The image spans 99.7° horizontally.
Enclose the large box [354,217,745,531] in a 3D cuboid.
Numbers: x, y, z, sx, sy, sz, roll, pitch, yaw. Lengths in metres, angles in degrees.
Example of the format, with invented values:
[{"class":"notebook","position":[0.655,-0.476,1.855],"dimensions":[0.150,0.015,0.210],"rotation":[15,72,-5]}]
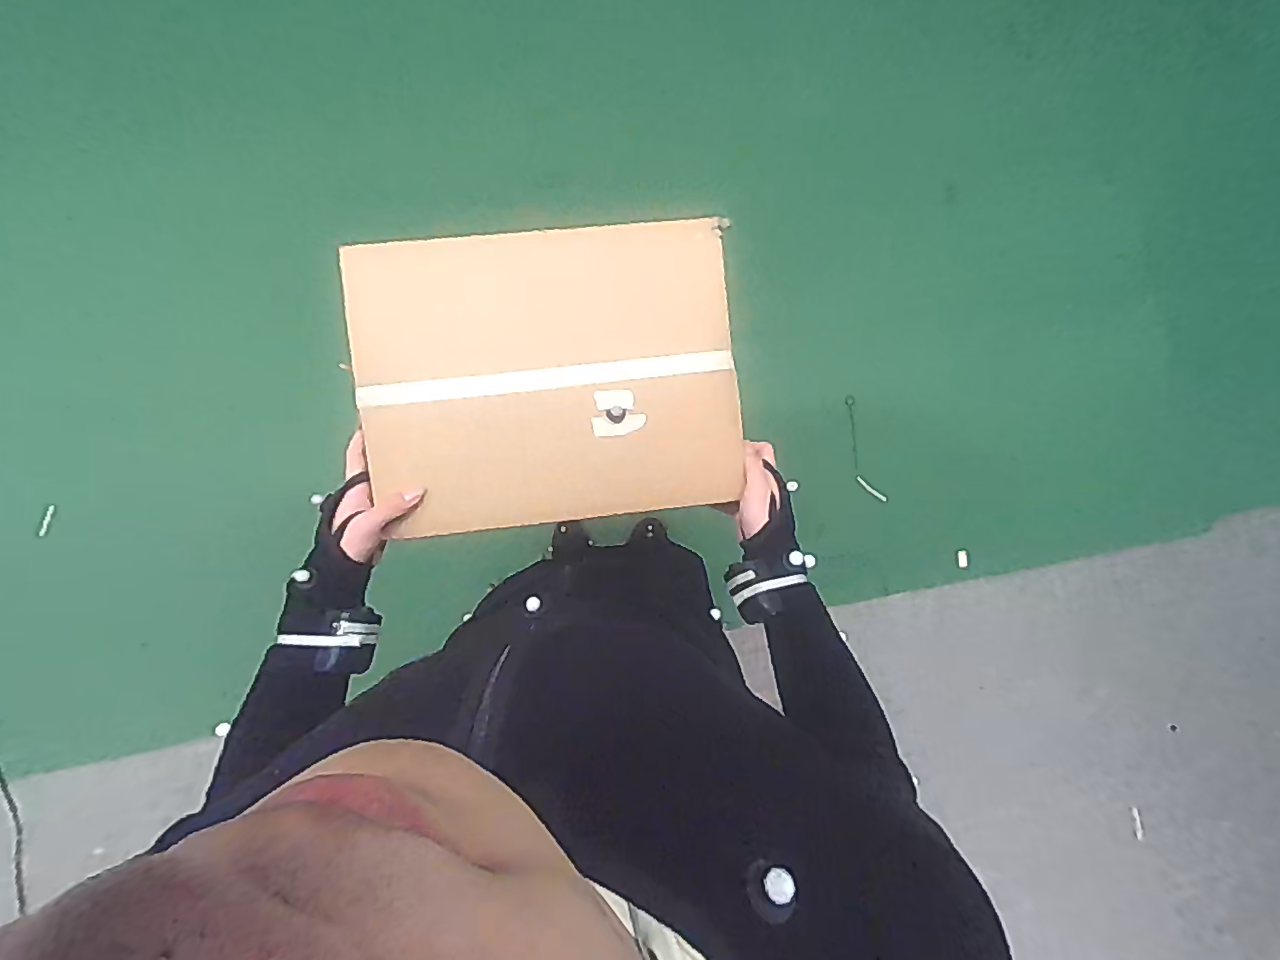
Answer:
[{"class":"large box","position":[-0.106,-0.124,0.743],"dimensions":[0.408,0.320,0.320],"rotation":[-6,93,-5]}]
